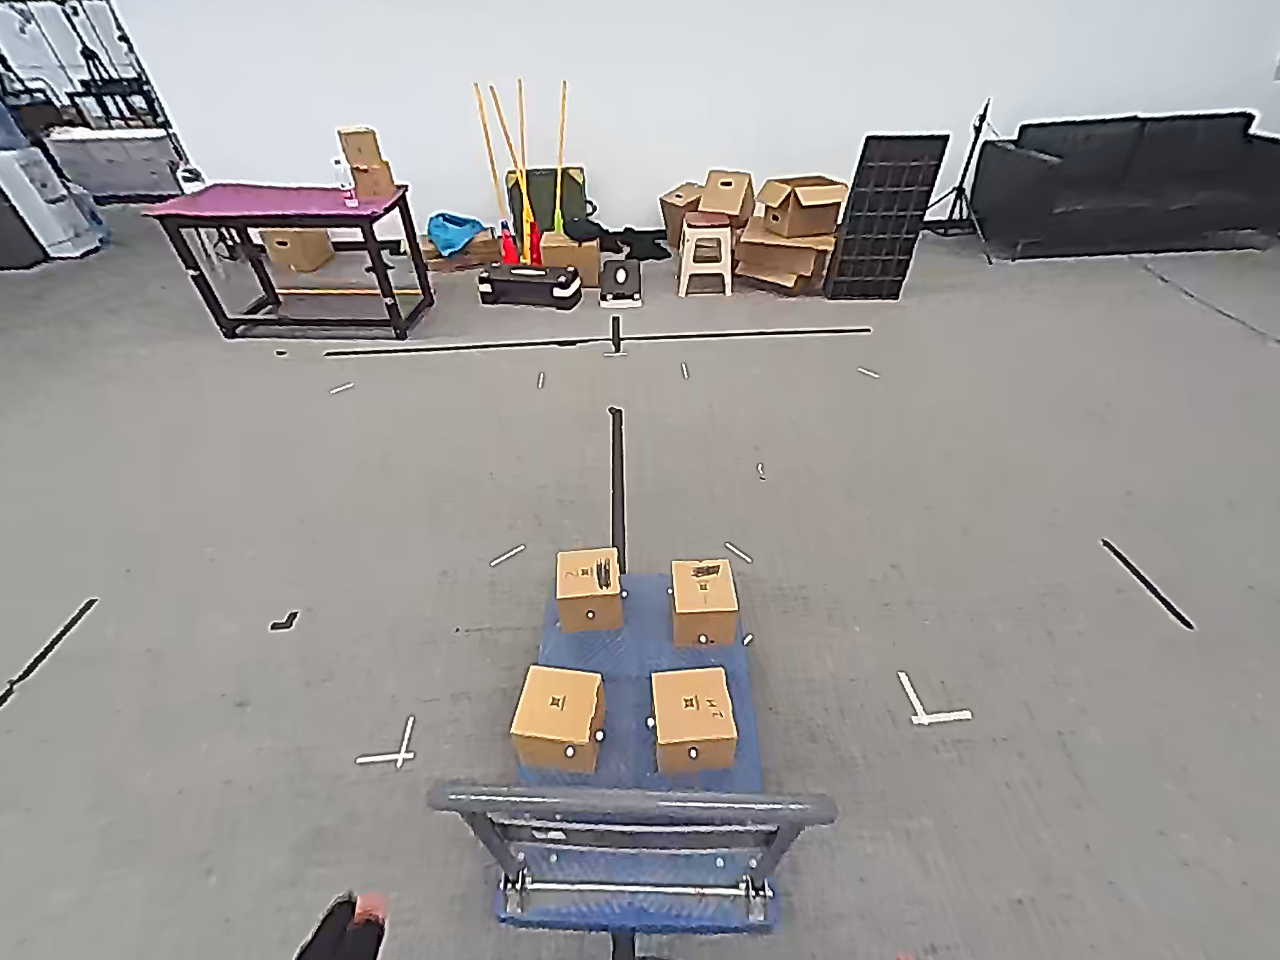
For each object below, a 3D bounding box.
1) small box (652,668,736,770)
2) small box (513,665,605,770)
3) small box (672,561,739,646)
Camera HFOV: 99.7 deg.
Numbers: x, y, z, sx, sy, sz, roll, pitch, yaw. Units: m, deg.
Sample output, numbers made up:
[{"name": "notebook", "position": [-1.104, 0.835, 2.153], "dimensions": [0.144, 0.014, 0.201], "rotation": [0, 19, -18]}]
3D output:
[{"name": "small box", "position": [0.122, 0.570, 1.282], "dimensions": [0.179, 0.176, 0.168], "rotation": [-3, 41, -2]}, {"name": "small box", "position": [-0.184, 0.569, 1.291], "dimensions": [0.179, 0.176, 0.168], "rotation": [5, 41, 5]}, {"name": "small box", "position": [0.178, 0.349, 1.532], "dimensions": [0.168, 0.176, 0.179], "rotation": [-2, 42, 0]}]
